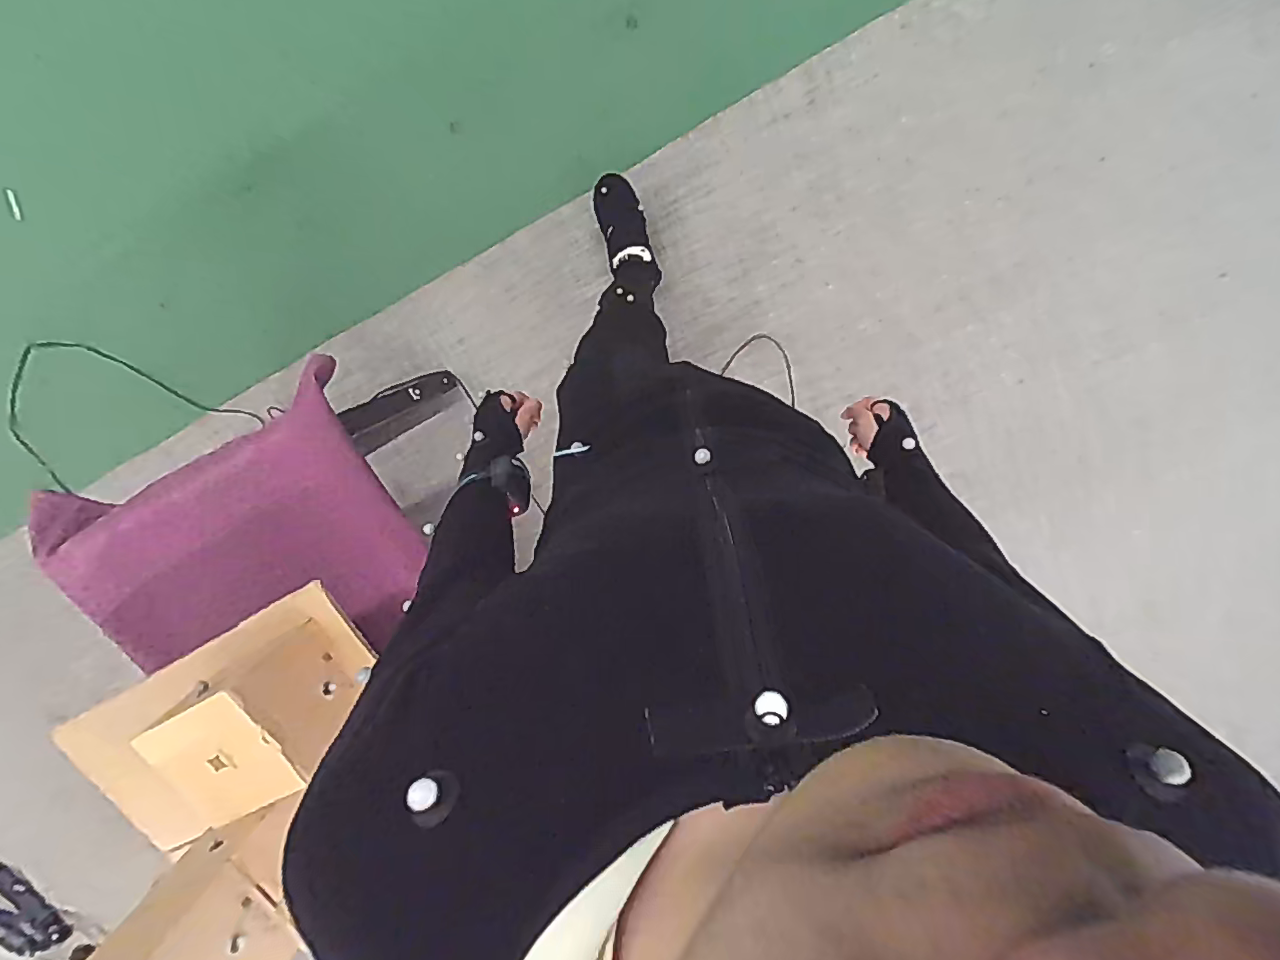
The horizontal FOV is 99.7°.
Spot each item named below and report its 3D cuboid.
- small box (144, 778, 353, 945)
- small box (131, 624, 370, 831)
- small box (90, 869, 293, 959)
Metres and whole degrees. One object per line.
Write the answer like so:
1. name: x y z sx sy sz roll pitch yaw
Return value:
1. small box: -0.587 0.602 0.843 0.179 0.176 0.168 -28 102 12
2. small box: -0.531 0.339 0.764 0.179 0.176 0.168 -28 103 10
3. small box: -0.599 0.650 0.687 0.179 0.176 0.168 -28 103 10
